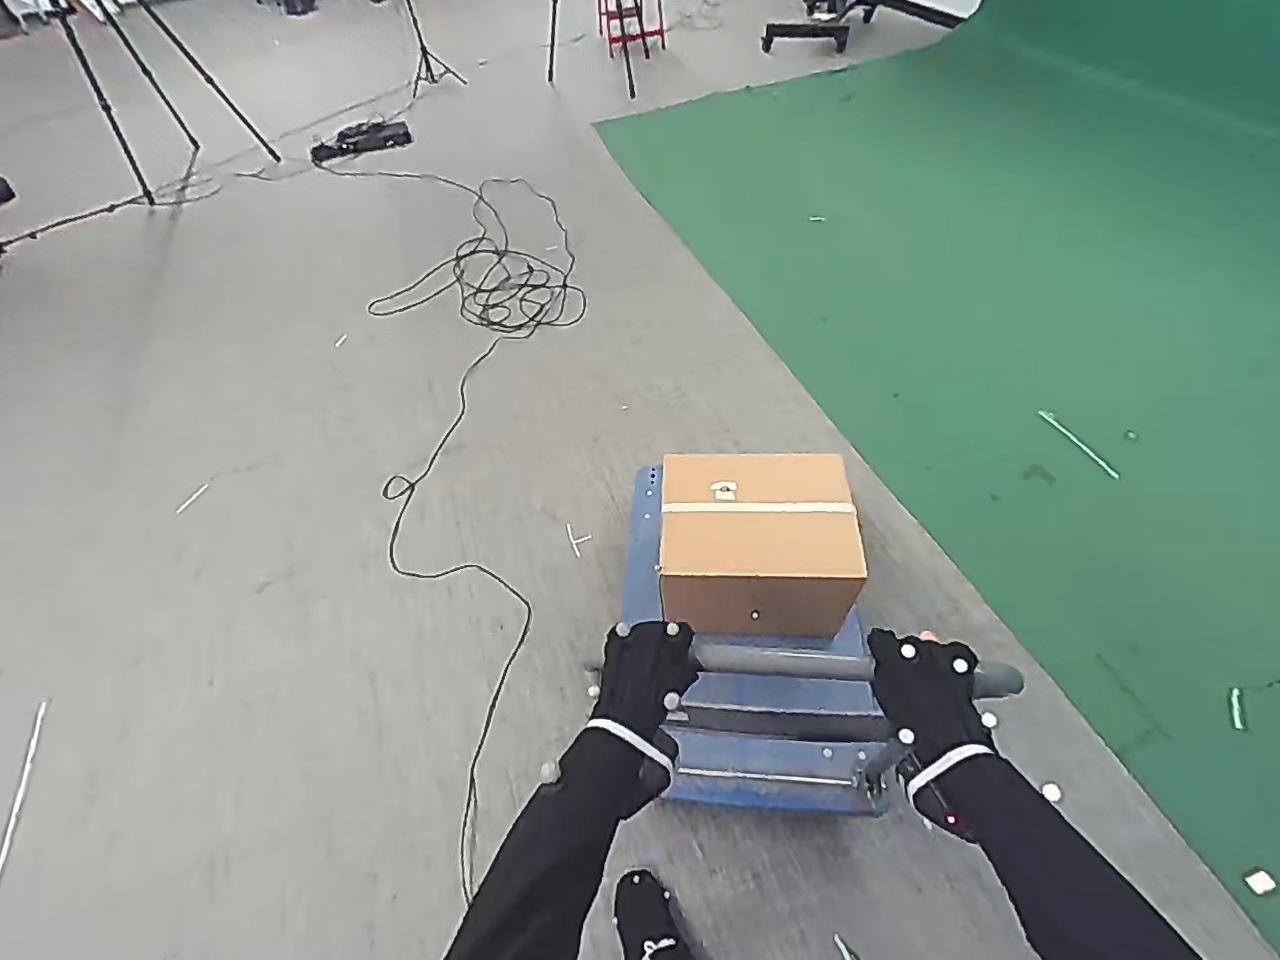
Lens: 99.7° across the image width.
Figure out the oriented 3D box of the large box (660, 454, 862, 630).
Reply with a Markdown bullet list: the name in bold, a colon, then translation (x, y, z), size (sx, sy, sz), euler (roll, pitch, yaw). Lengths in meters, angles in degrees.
- **large box**: translation (0.260, 0.154, 1.278), size (0.408, 0.320, 0.320), euler (-1, 53, 6)
